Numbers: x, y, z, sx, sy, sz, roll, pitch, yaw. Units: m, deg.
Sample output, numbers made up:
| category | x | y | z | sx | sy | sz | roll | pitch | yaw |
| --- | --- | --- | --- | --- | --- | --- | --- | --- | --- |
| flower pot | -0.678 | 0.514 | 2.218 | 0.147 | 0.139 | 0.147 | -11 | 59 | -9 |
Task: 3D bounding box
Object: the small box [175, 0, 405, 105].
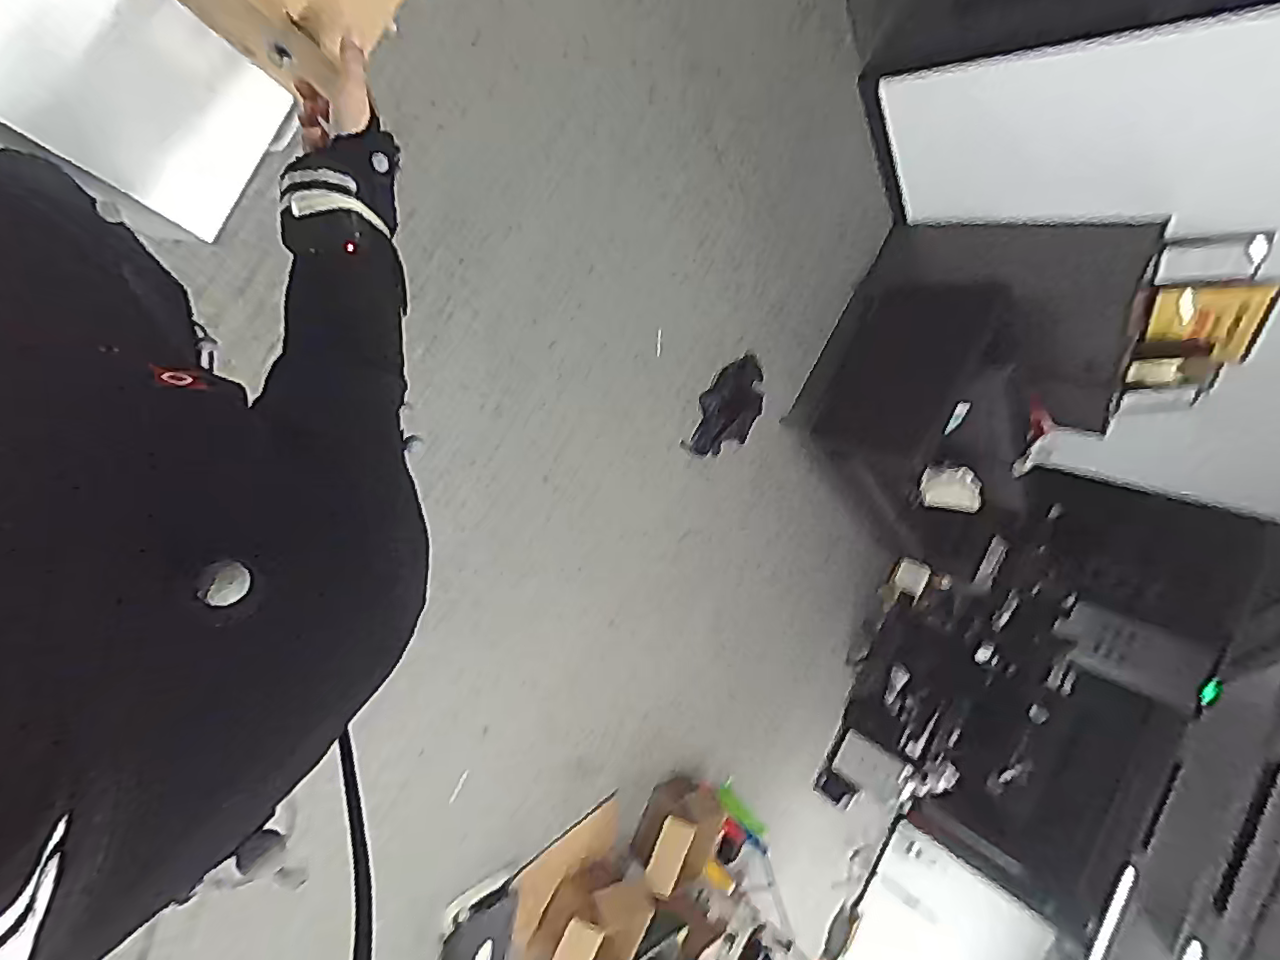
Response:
| category | x | y | z | sx | sy | sz | roll | pitch | yaw |
| --- | --- | --- | --- | --- | --- | --- | --- | --- | --- |
| small box | -0.325 | -0.485 | 0.491 | 0.168 | 0.176 | 0.179 | 32 | 83 | -50 |
